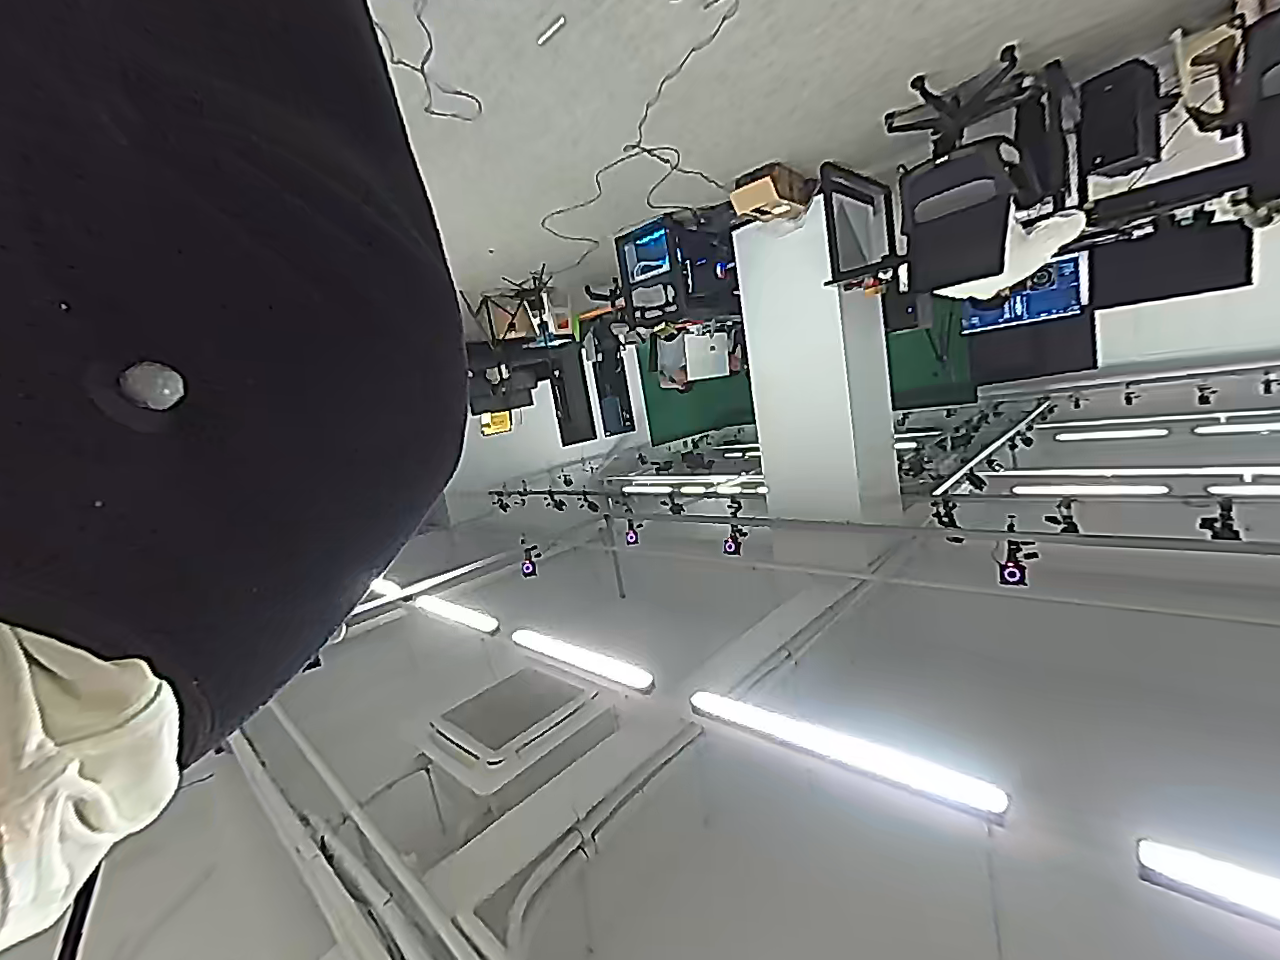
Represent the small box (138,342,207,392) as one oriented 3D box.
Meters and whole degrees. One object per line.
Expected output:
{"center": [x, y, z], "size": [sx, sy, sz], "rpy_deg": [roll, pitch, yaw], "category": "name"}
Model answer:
{"center": [-1.879, -0.453, 2.169], "size": [0.179, 0.176, 0.168], "rpy_deg": [-2, -168, 42], "category": "small box"}
